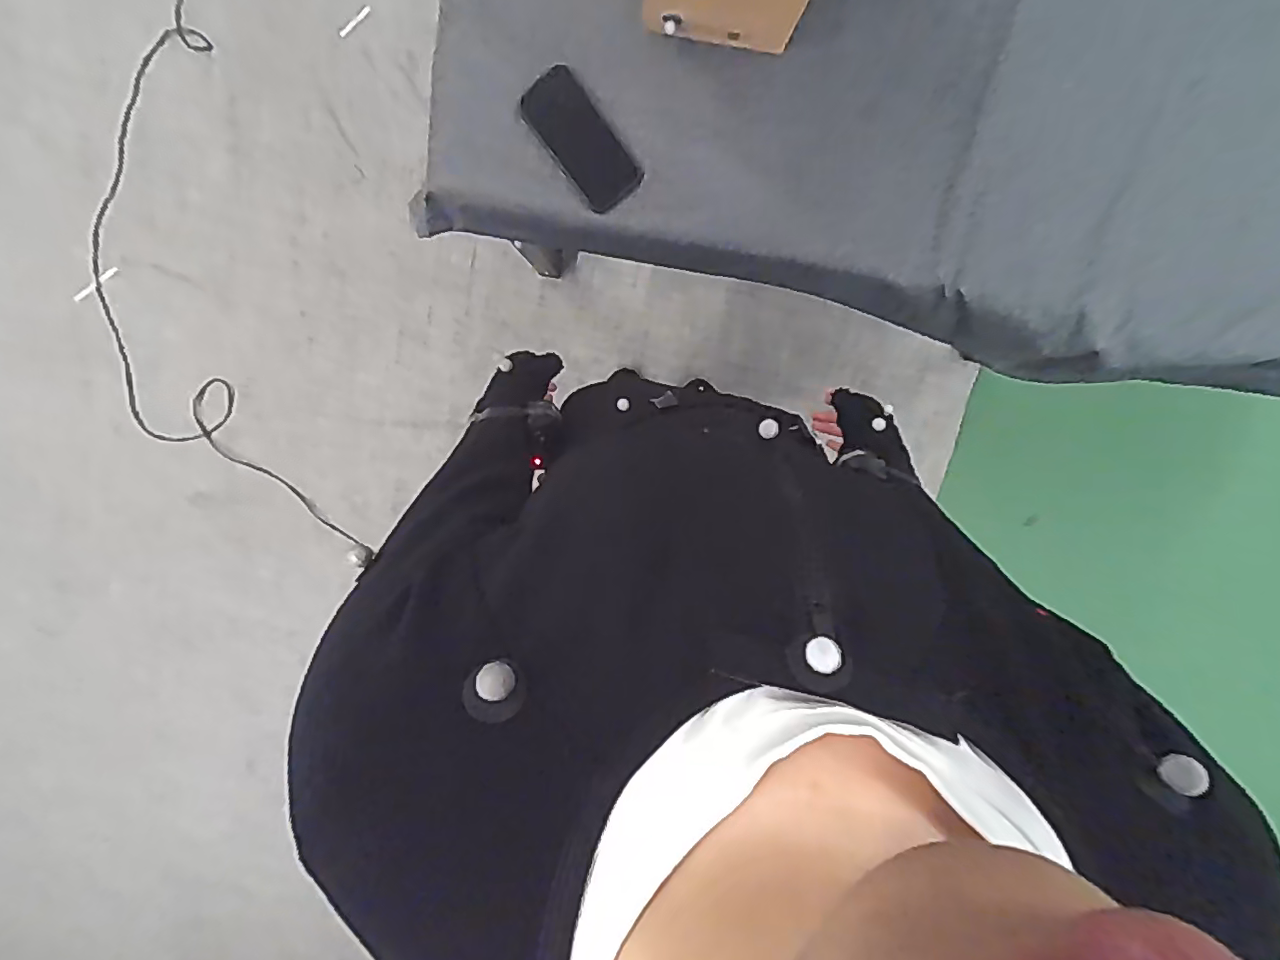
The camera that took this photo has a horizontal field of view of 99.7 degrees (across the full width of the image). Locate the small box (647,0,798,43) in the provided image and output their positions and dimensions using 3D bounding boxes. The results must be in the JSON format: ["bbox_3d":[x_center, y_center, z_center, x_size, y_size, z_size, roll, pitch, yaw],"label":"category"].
[{"bbox_3d":[0.095,-0.576,0.525,0.168,0.176,0.179,7,101,-4],"label":"small box"}]
